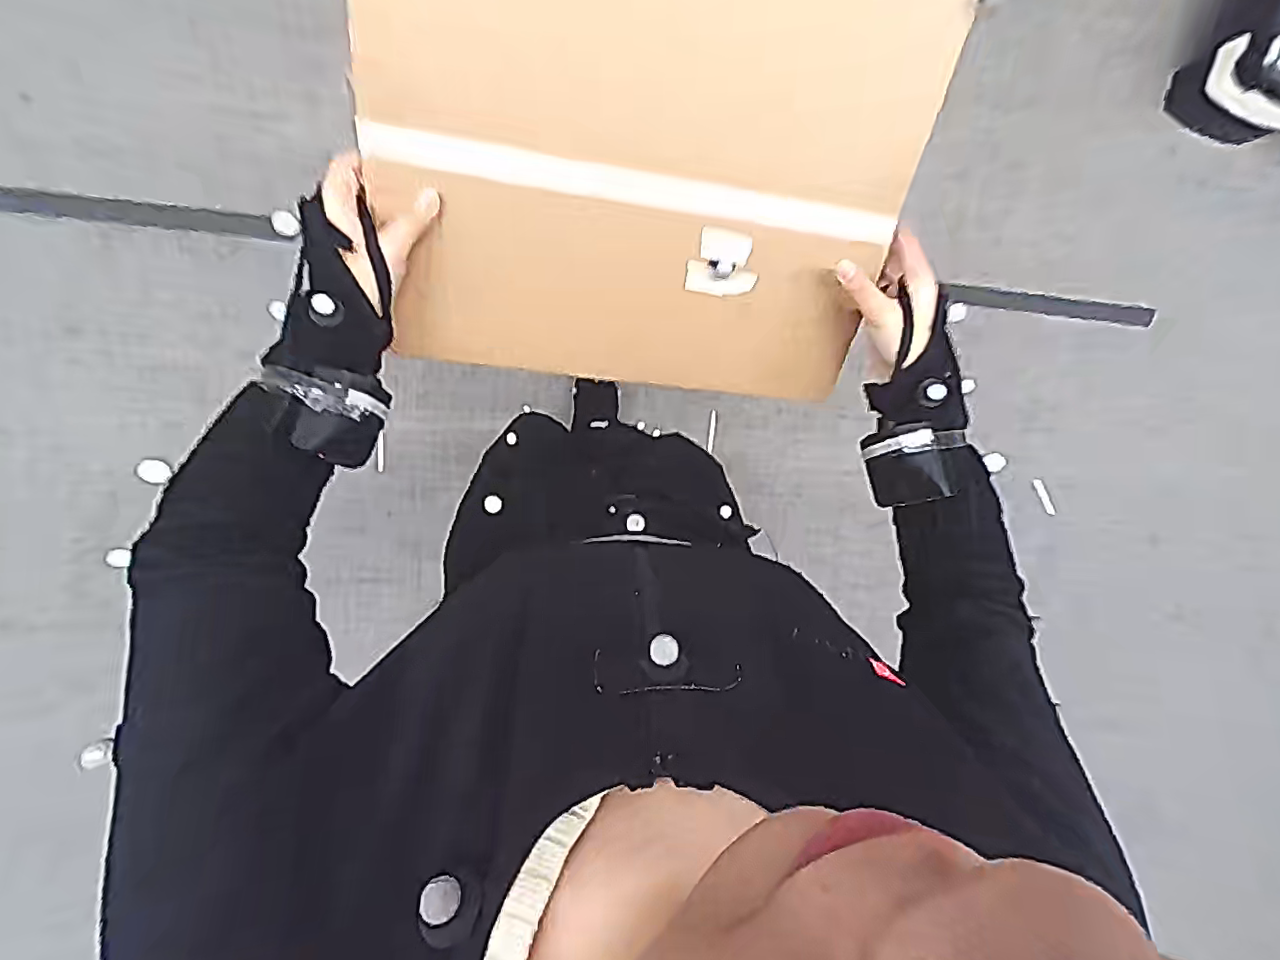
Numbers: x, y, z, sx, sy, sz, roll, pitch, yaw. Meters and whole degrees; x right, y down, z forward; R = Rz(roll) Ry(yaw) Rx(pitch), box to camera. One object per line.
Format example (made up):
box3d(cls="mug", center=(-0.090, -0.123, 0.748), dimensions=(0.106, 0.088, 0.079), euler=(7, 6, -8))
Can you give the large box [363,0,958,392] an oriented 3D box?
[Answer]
box3d(cls="large box", center=(-0.013, -0.302, 0.540), dimensions=(0.408, 0.320, 0.320), euler=(3, 123, -12))
